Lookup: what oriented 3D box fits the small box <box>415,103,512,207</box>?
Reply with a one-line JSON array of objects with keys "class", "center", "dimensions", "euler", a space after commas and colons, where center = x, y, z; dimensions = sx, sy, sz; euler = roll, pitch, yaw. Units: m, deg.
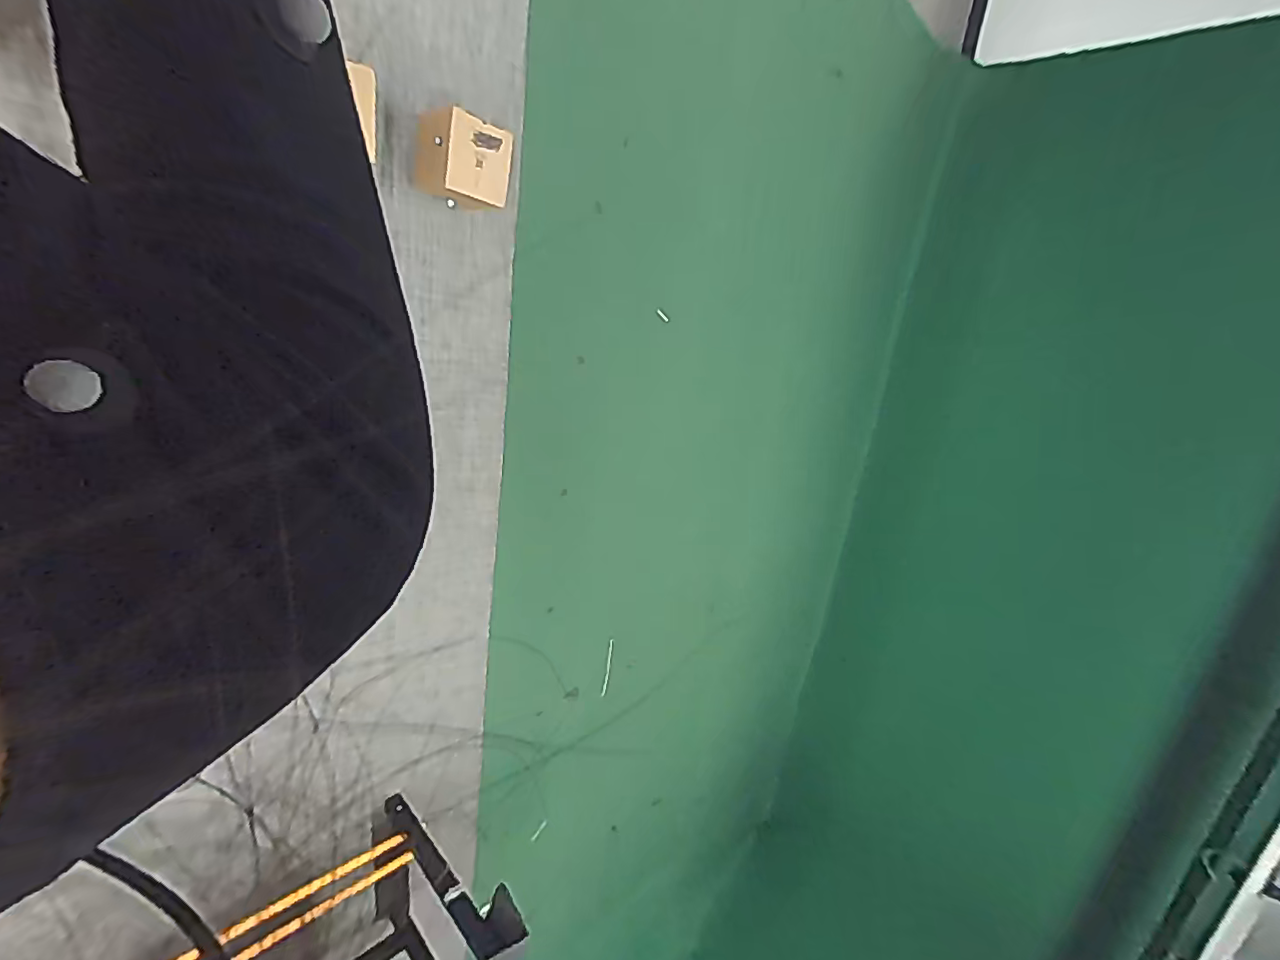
[{"class": "small box", "center": [-0.447, -0.802, 1.354], "dimensions": [0.168, 0.176, 0.179], "euler": [-4, 111, -47]}]

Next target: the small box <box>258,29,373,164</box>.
[{"class": "small box", "center": [-0.670, -0.774, 1.118], "dimensions": [0.168, 0.176, 0.179], "euler": [-10, 114, -46]}]
